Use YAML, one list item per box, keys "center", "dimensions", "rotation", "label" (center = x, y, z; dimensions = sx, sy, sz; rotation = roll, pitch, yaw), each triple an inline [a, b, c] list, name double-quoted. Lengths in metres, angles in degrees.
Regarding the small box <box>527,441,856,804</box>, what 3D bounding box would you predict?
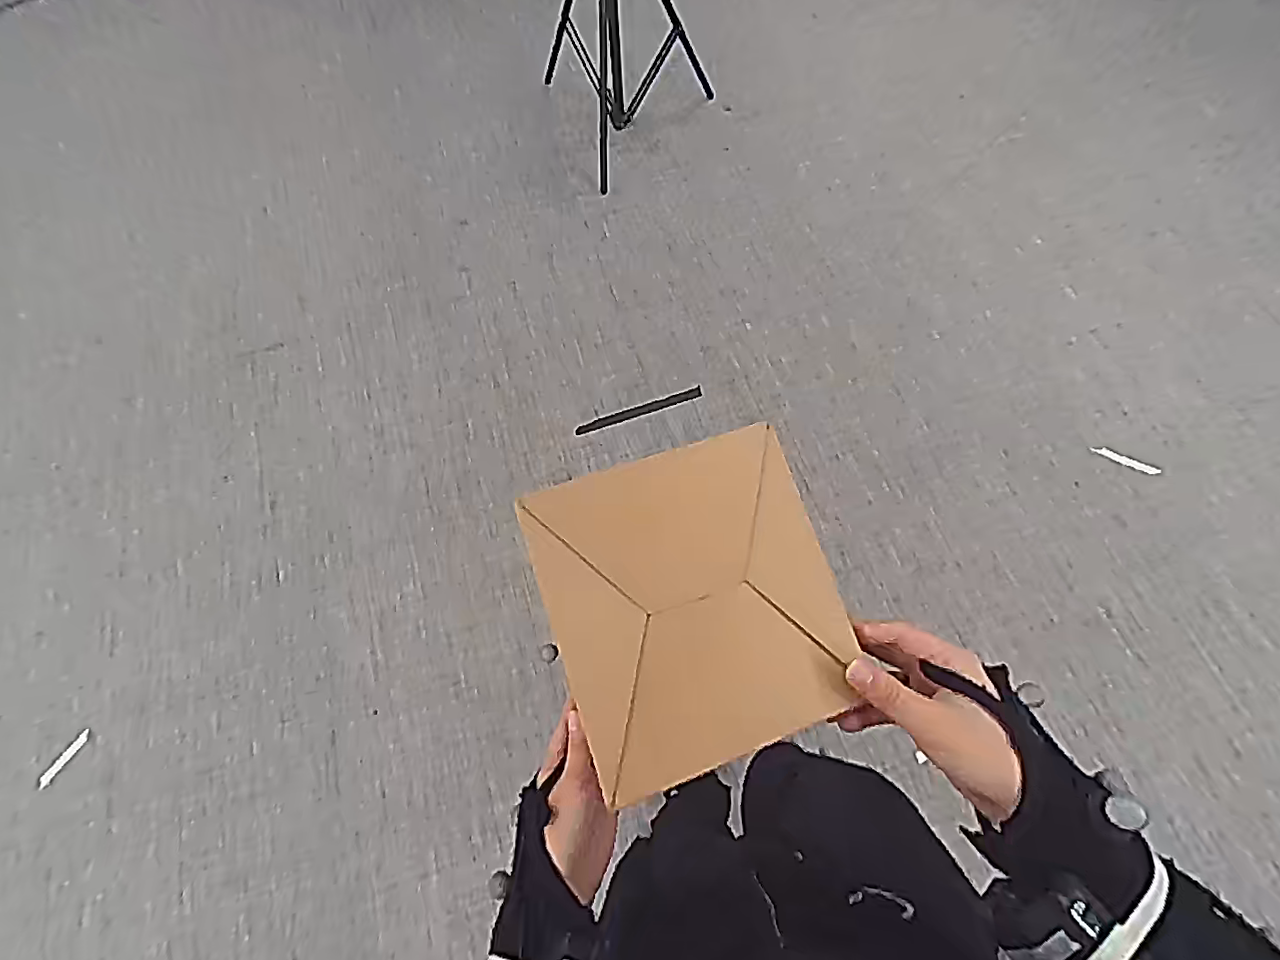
- center: [0.022, 0.087, 0.389]
  dimensions: [0.168, 0.176, 0.179]
  rotation: [-17, 81, -12]
  label: "small box"
